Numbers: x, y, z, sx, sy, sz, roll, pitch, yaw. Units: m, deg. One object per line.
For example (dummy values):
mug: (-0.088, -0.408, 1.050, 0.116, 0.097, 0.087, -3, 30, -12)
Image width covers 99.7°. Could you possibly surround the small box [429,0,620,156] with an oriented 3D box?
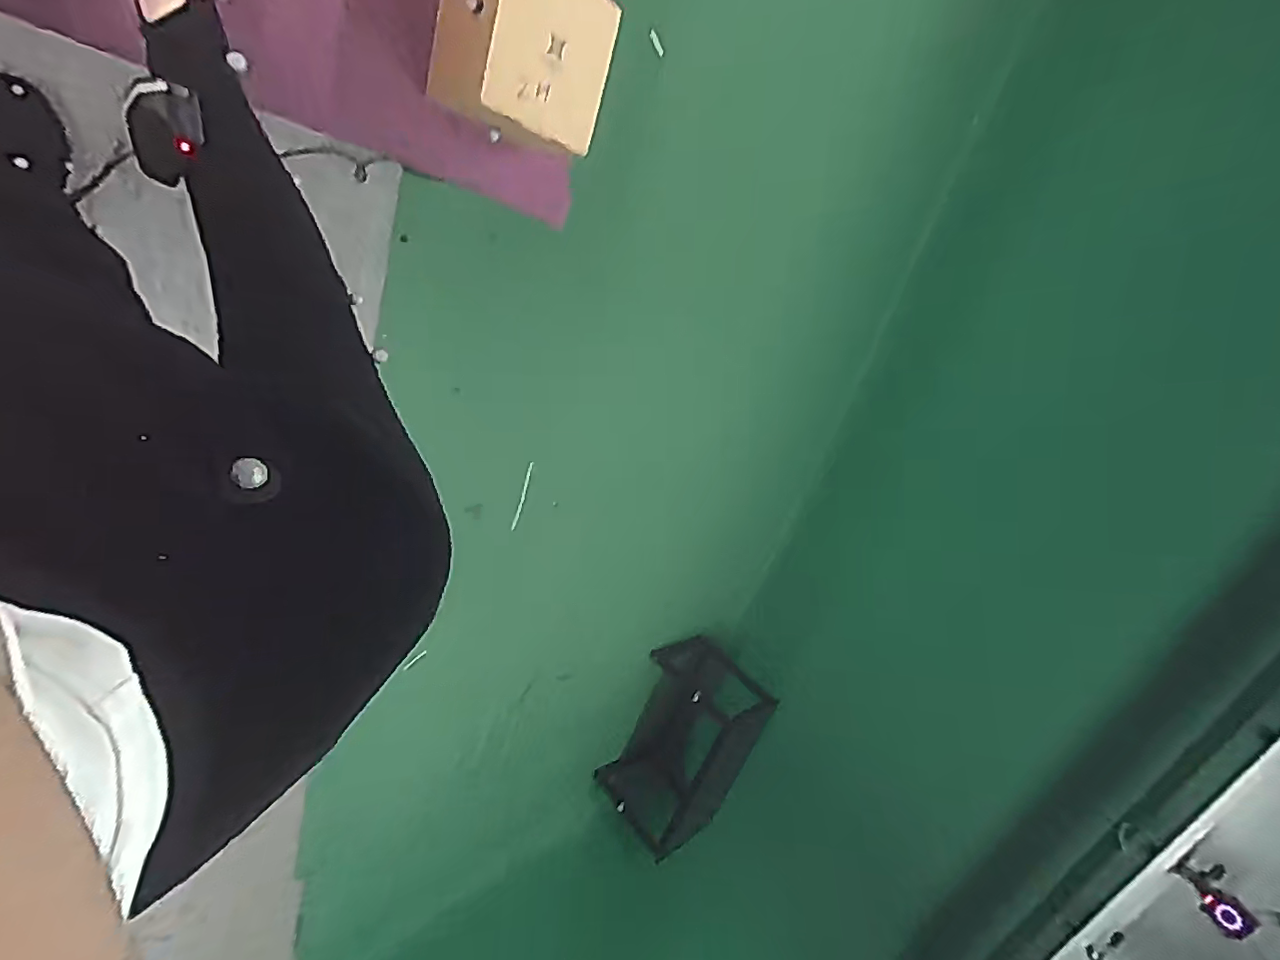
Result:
small box: (-0.159, -0.563, 0.716, 0.168, 0.176, 0.179, -1, 118, -45)
